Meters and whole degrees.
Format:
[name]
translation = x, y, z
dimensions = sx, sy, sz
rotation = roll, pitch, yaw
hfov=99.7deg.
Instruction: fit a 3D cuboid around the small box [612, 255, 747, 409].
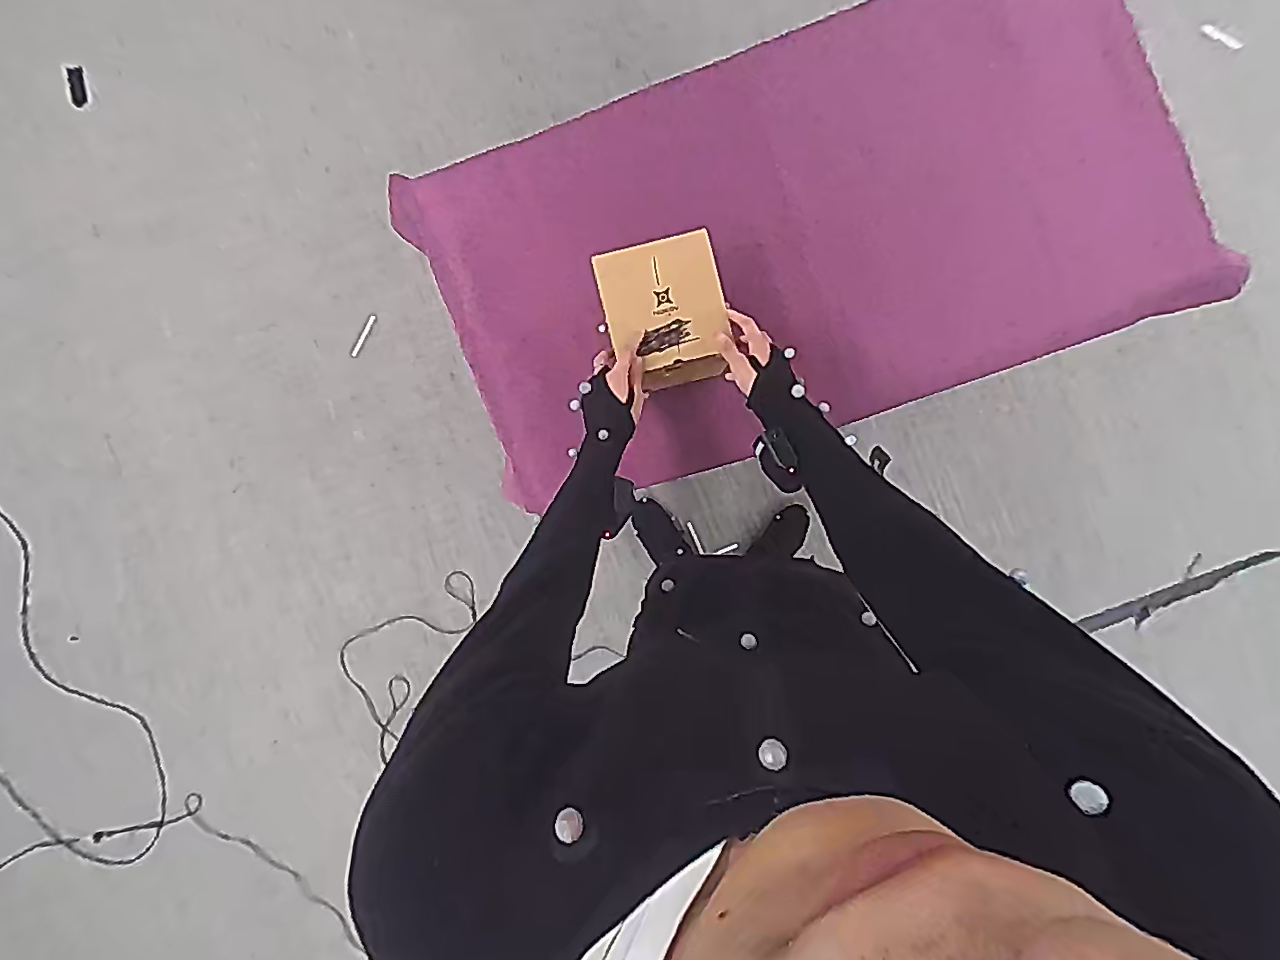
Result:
[small box]
translation = 0.056, -0.212, 0.829
dimensions = 0.168, 0.176, 0.179
rotation = -11, 87, 0
